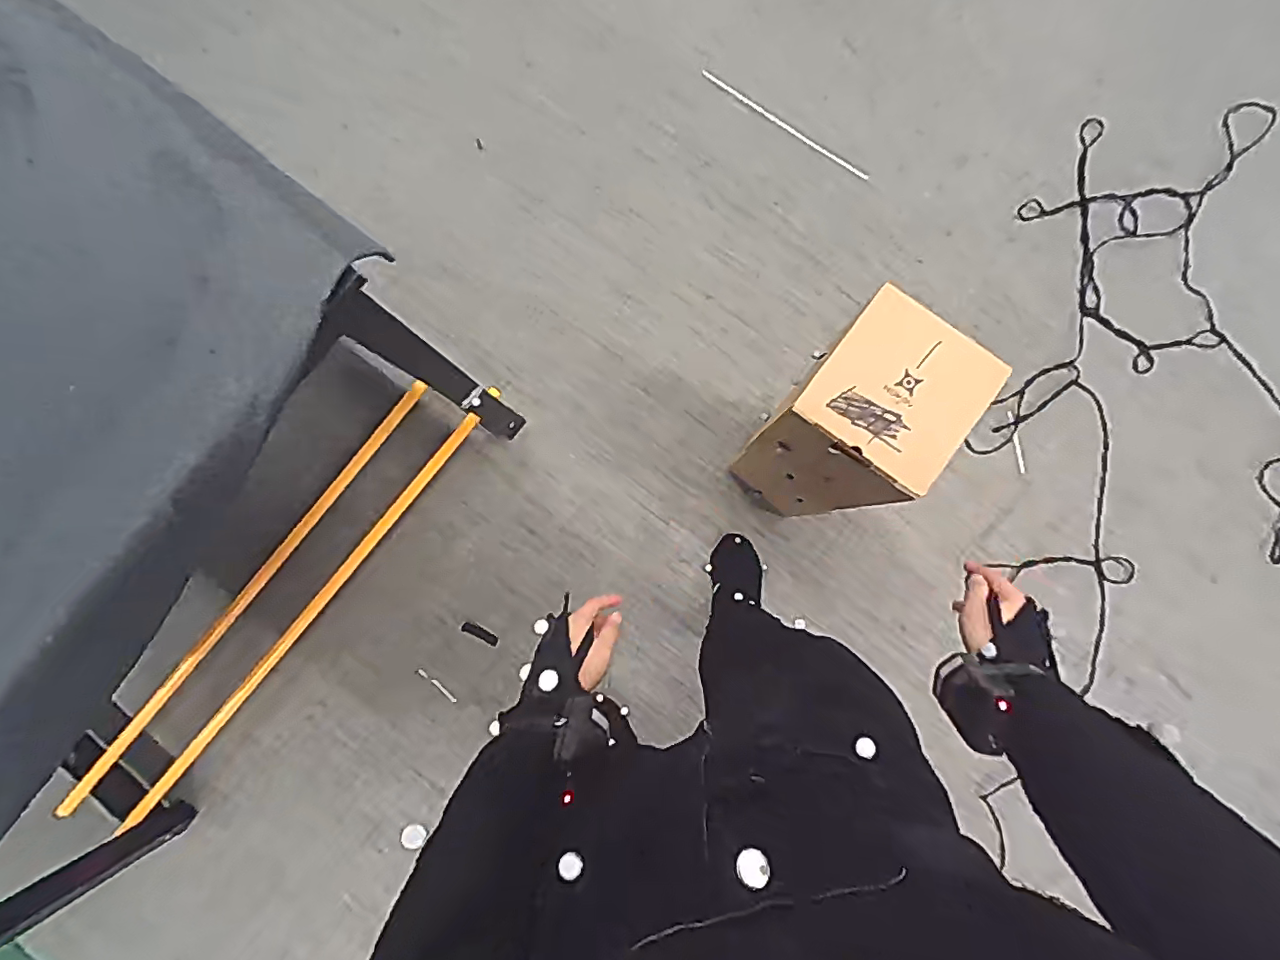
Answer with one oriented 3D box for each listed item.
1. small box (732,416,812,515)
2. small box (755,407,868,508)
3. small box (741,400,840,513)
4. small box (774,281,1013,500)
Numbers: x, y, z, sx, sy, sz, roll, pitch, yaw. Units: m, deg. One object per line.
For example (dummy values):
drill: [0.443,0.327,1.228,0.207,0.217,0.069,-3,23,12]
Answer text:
small box: [0.317,-0.043,1.135,0.179,0.176,0.168,41,86,4]
small box: [0.293,-0.075,0.811,0.168,0.176,0.179,39,87,5]
small box: [0.306,-0.055,0.974,0.179,0.176,0.168,38,86,6]
small box: [0.280,-0.090,0.648,0.168,0.176,0.179,38,86,4]
